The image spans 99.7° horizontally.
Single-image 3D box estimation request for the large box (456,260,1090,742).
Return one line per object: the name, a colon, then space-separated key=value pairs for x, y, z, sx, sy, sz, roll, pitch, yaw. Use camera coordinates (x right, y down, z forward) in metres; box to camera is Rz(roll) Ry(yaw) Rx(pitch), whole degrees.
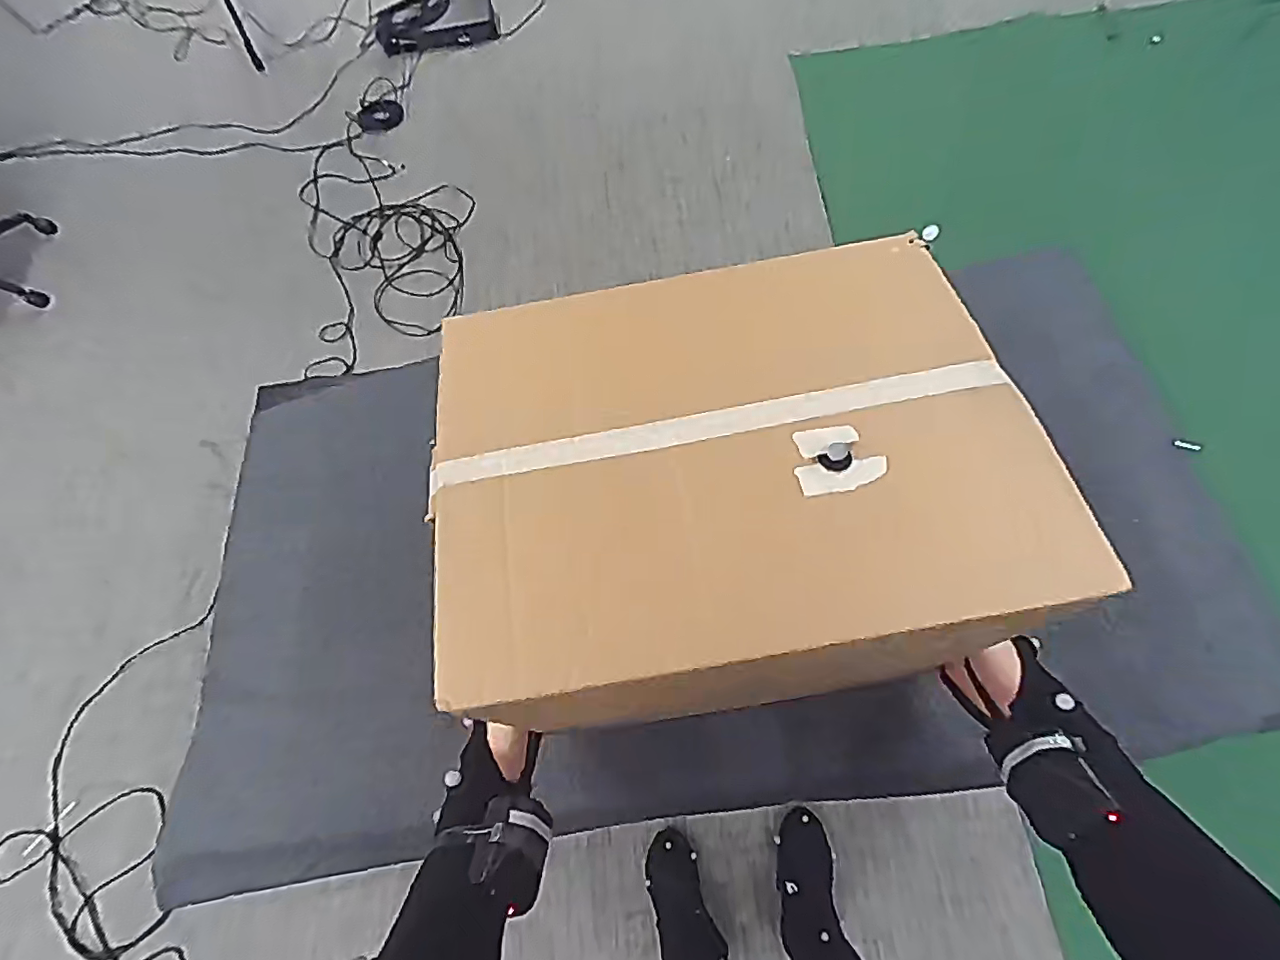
large box: x=0.071 y=0.044 z=0.530 sx=0.408 sy=0.320 sz=0.320 roll=-10 pitch=61 yaw=0
